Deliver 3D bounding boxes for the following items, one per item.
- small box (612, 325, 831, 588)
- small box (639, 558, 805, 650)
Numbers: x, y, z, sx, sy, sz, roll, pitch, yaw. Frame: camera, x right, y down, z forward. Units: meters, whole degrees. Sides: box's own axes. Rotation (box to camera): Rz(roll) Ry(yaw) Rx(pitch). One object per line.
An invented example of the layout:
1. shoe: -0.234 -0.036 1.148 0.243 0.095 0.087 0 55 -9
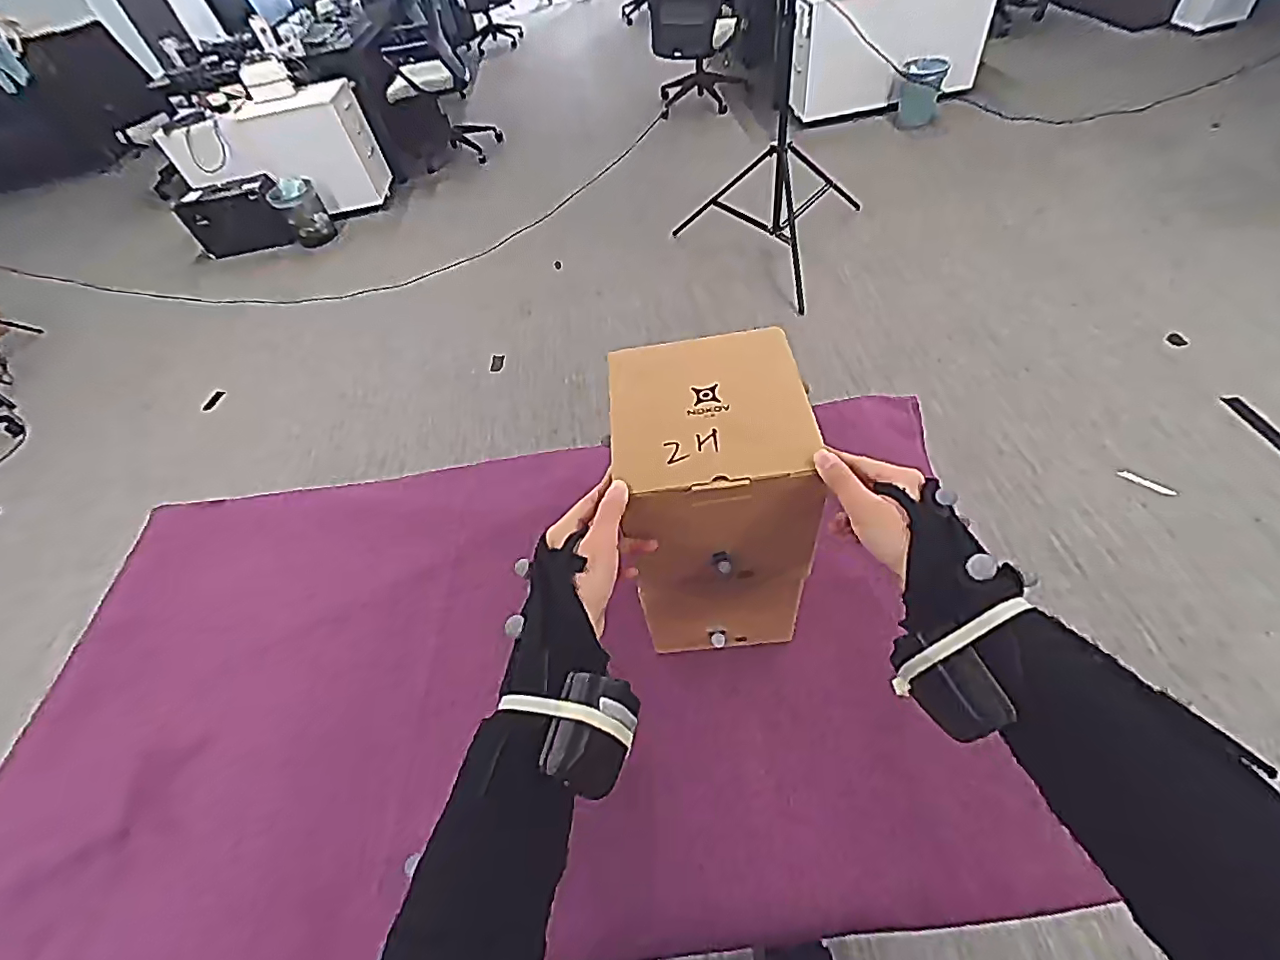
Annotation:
1. small box: 0.068 -0.018 0.516 0.168 0.176 0.179 -7 51 5
2. small box: 0.088 0.083 0.645 0.168 0.176 0.179 -7 52 5
